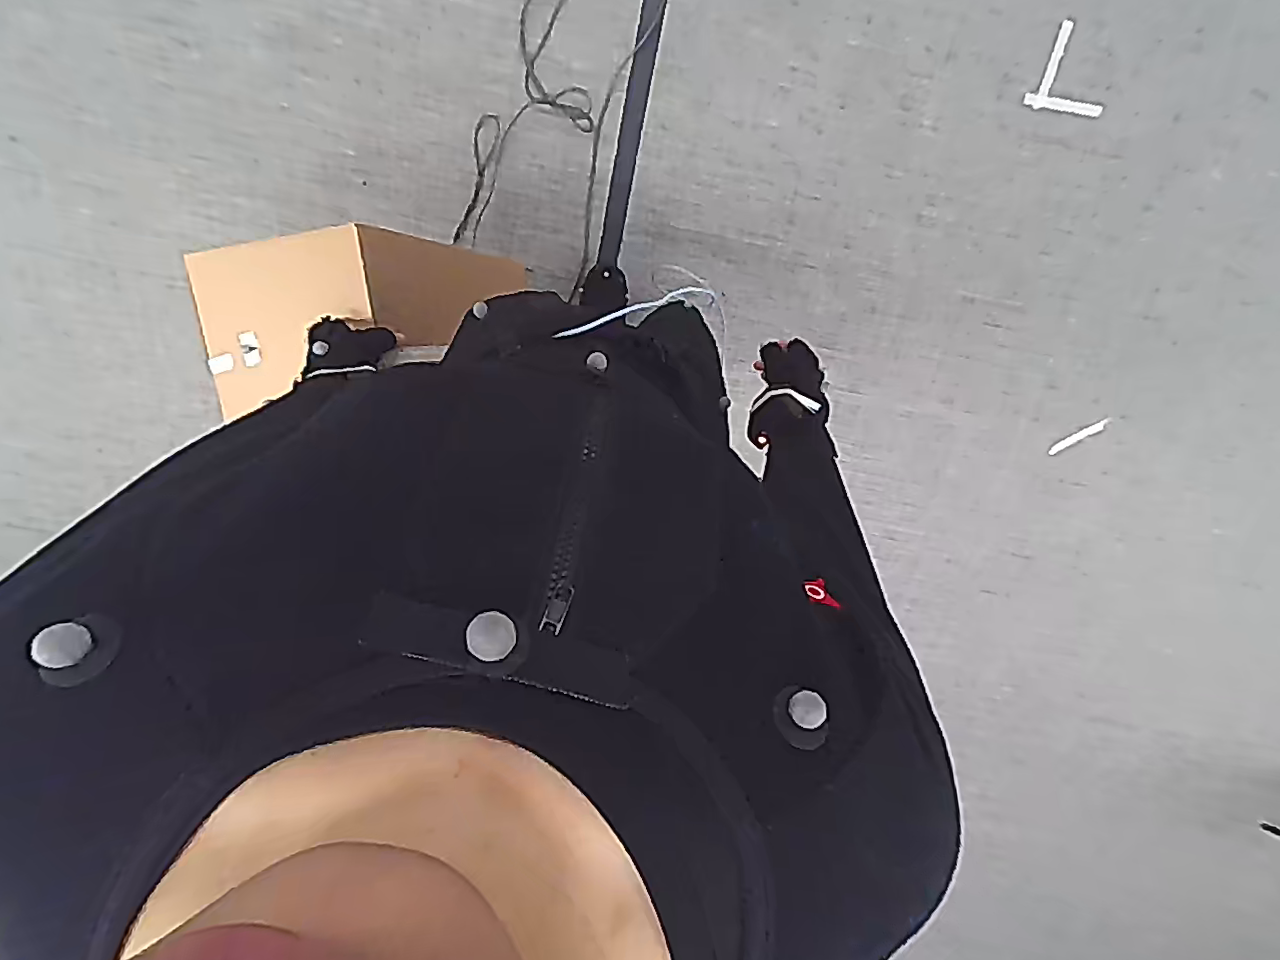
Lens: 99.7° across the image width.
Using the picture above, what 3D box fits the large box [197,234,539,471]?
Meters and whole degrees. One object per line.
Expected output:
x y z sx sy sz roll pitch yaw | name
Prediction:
-0.420 -0.210 0.934 0.320 0.408 0.320 1 105 18 | large box
